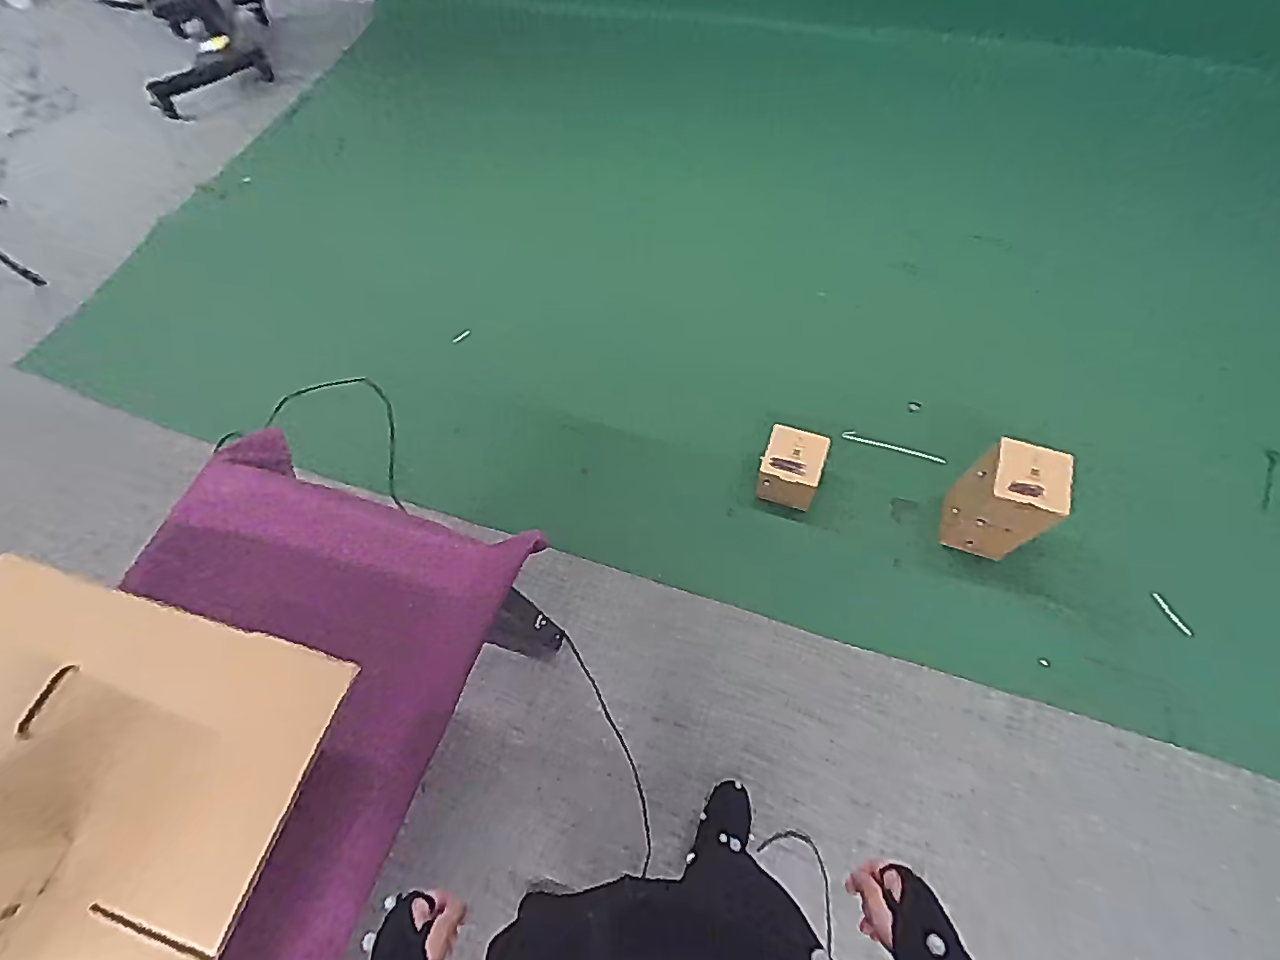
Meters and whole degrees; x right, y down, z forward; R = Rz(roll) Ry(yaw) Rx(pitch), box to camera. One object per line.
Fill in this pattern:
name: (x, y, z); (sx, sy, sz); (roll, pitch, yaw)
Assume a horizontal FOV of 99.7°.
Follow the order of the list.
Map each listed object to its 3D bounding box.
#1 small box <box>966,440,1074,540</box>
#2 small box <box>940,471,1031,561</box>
small box: (0.958, 0.030, 1.376); (0.168, 0.176, 0.179); (19, 66, 13)
small box: (0.971, 0.104, 1.522); (0.168, 0.176, 0.179); (17, 66, 13)
